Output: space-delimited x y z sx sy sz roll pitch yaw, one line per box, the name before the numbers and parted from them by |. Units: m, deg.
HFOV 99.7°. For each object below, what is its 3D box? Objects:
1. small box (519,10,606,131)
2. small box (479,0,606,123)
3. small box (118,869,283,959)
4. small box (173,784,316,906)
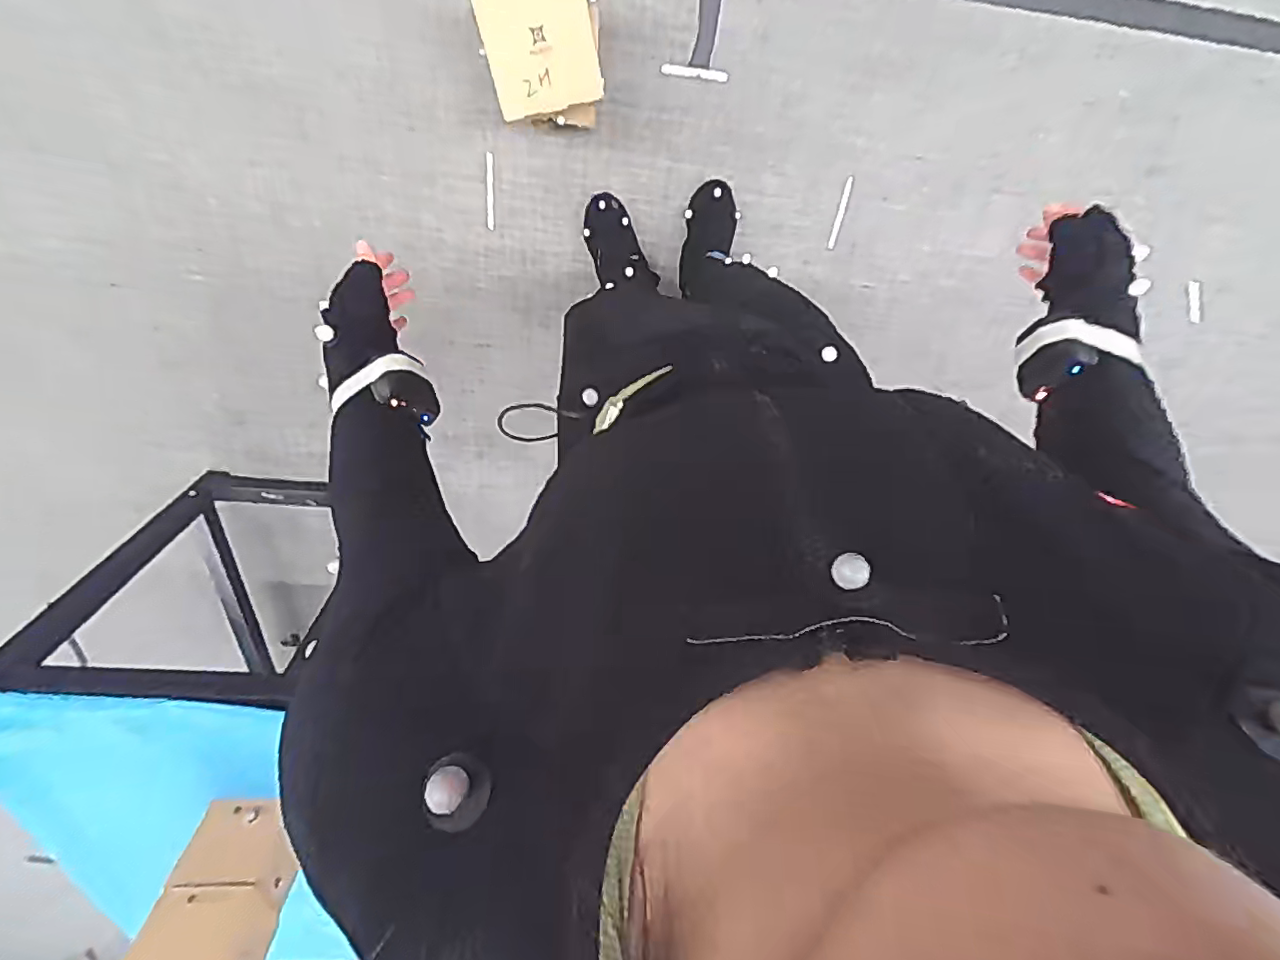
small box | -0.153 -0.778 1.029 0.168 0.176 0.179 4 122 -5
small box | -0.150 -0.698 0.884 0.168 0.176 0.179 -7 125 3
small box | -0.810 0.861 1.011 0.168 0.176 0.179 1 122 -3
small box | -0.823 0.779 1.151 0.168 0.176 0.179 4 123 -5
